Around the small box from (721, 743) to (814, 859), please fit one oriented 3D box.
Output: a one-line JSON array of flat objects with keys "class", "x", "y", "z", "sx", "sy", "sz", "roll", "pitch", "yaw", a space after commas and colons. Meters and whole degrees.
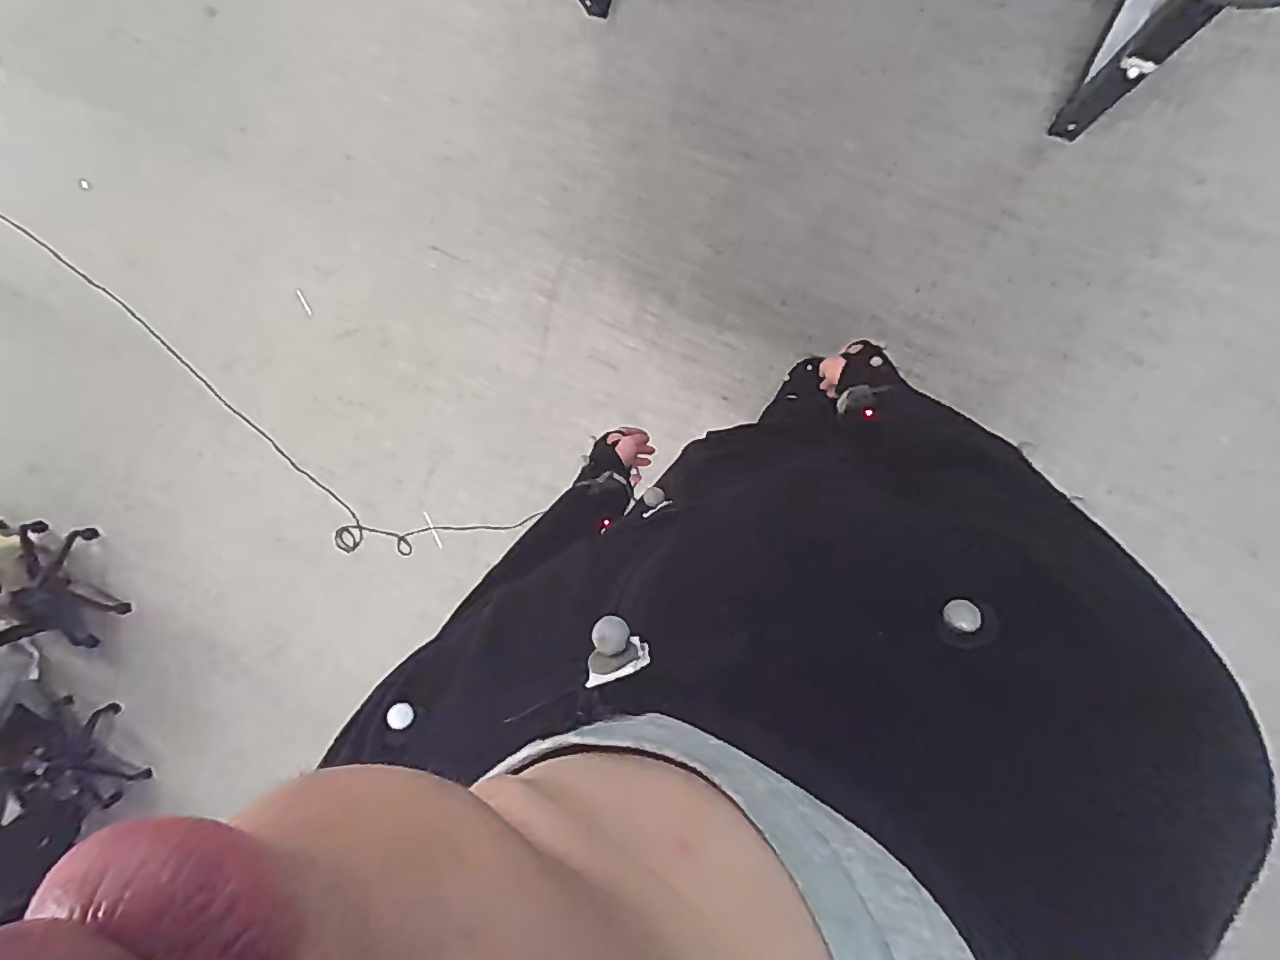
[{"class": "small box", "x": 0.340, "y": 0.838, "z": 1.423, "sx": 0.179, "sy": 0.176, "sz": 0.168, "roll": -36, "pitch": 90, "yaw": 20}]
